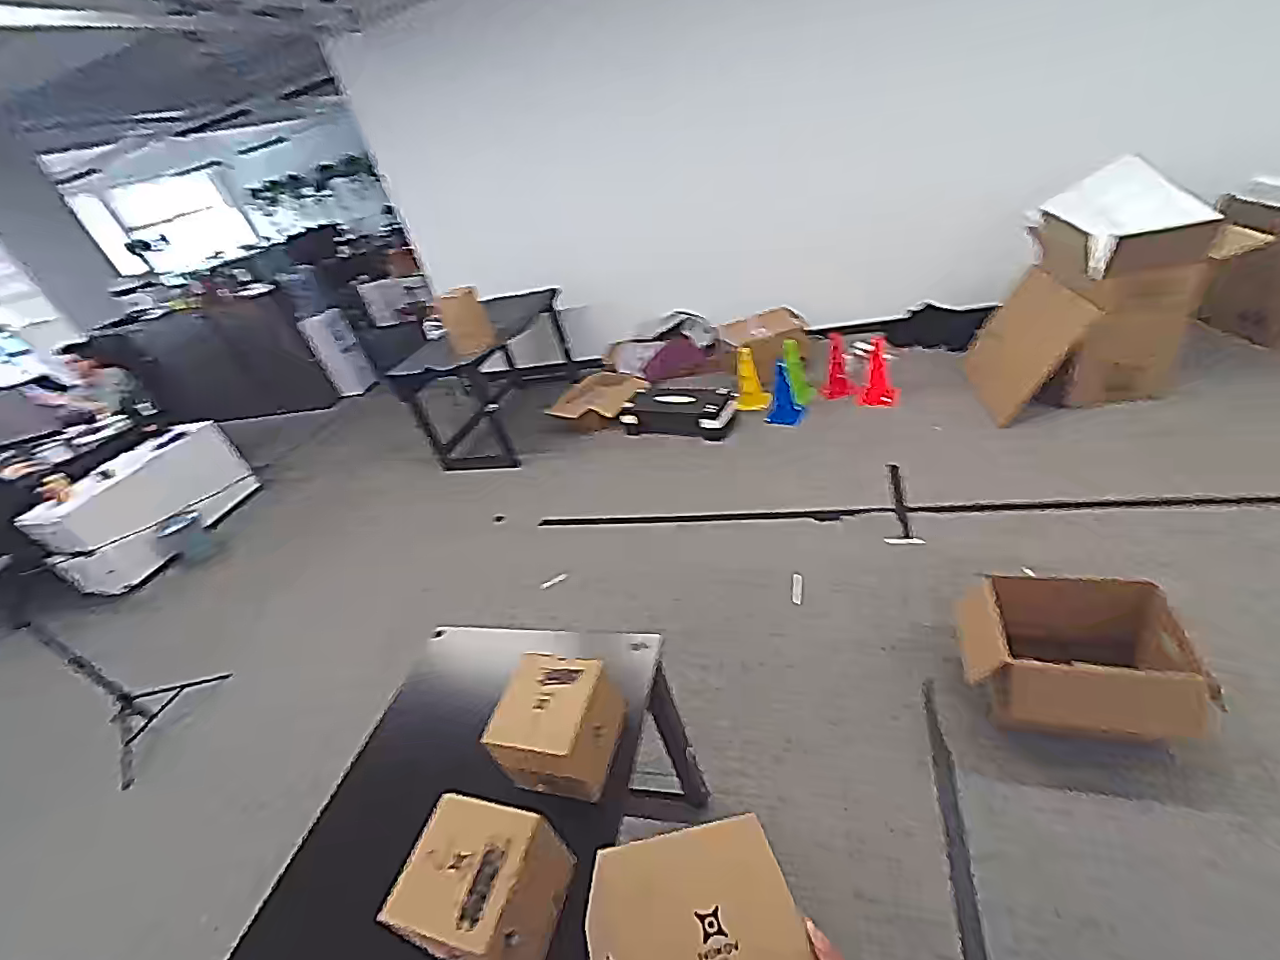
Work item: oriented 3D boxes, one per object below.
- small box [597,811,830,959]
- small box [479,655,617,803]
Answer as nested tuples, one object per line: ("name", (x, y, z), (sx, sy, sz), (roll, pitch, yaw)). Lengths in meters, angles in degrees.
("small box", (0.059, 0.449, 0.494), (0.168, 0.176, 0.179), (-3, 33, -16))
("small box", (-0.152, 0.444, 0.975), (0.168, 0.176, 0.179), (-3, 38, 21))
